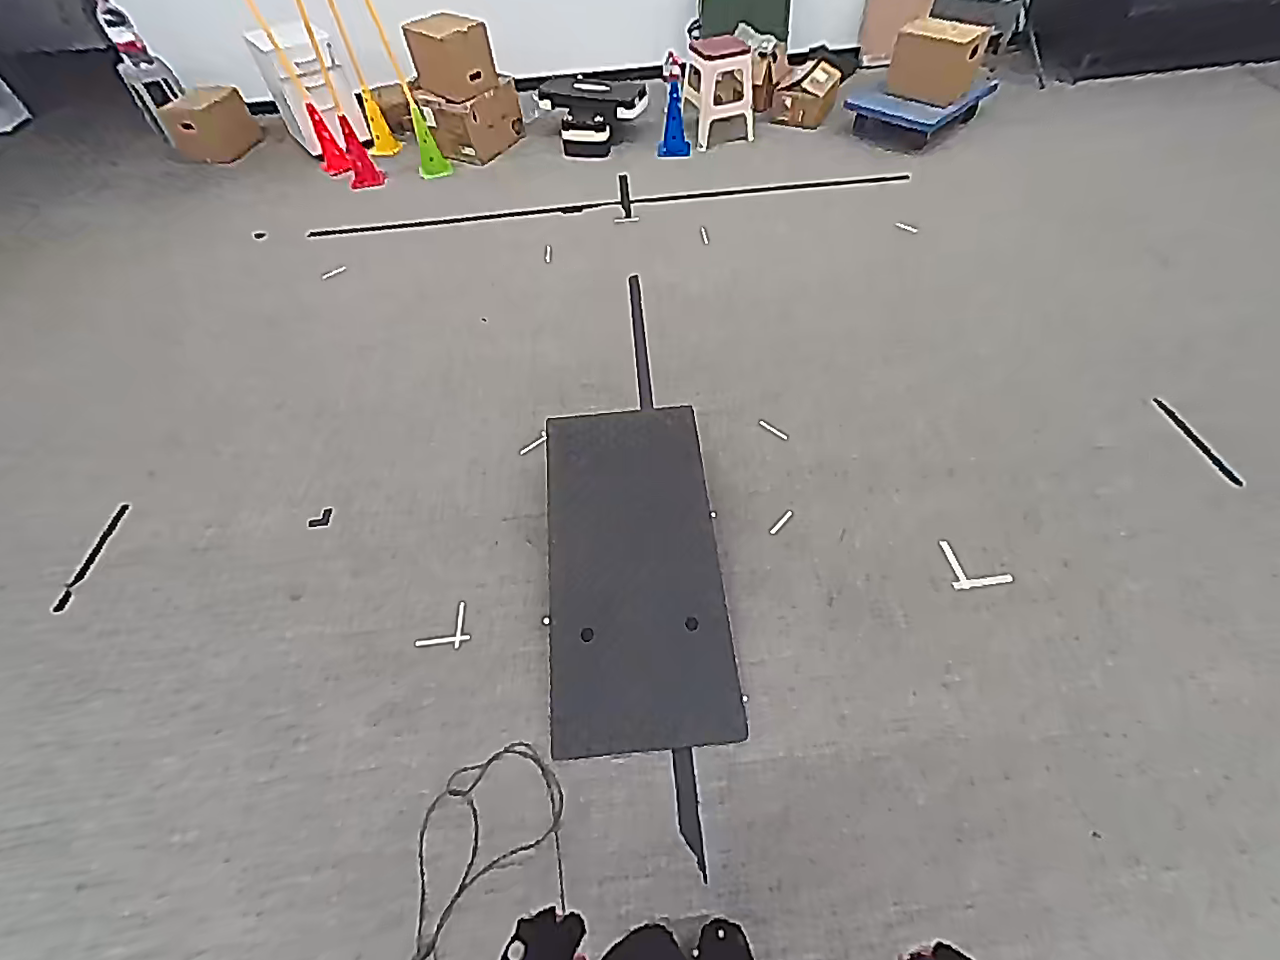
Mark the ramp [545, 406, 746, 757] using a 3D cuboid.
[{"bbox_3d":[-0.020,0.223,1.568,0.509,0.206,0.991,-7,53,-3],"label":"ramp"}]
